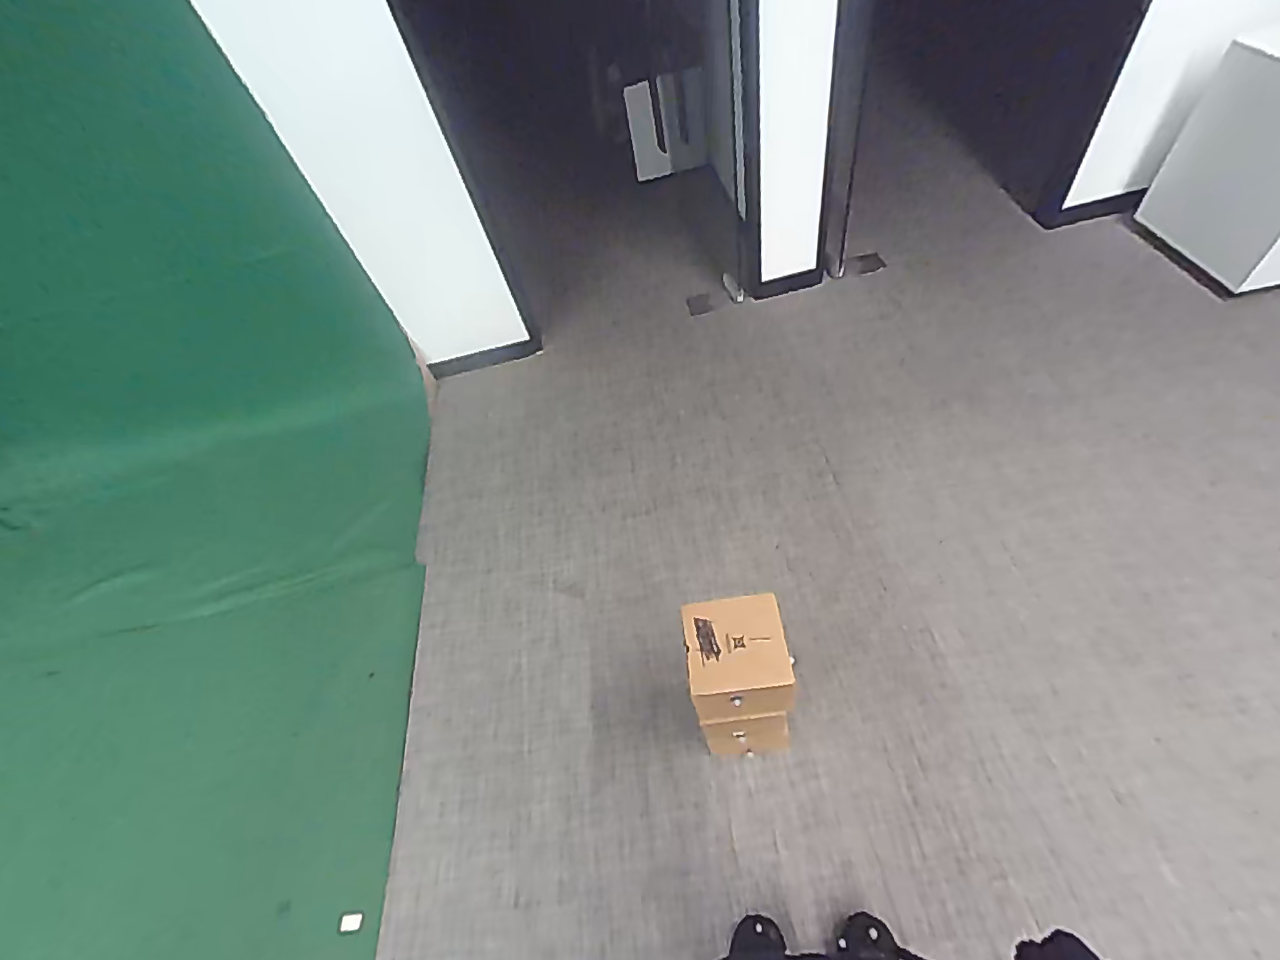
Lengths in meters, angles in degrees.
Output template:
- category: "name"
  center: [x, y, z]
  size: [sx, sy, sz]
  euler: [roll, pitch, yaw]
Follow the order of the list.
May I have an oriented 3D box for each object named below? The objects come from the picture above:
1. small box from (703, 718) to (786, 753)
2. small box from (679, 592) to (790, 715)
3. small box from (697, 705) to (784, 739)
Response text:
- category: "small box"
  center: [0.234, 0.530, 1.265]
  size: [0.179, 0.176, 0.168]
  euler: [-9, 52, 6]
- category: "small box"
  center: [0.177, 0.330, 1.012]
  size: [0.179, 0.176, 0.168]
  euler: [-10, 52, 7]
- category: "small box"
  center: [0.202, 0.429, 1.141]
  size: [0.168, 0.176, 0.179]
  euler: [-11, 53, 7]
